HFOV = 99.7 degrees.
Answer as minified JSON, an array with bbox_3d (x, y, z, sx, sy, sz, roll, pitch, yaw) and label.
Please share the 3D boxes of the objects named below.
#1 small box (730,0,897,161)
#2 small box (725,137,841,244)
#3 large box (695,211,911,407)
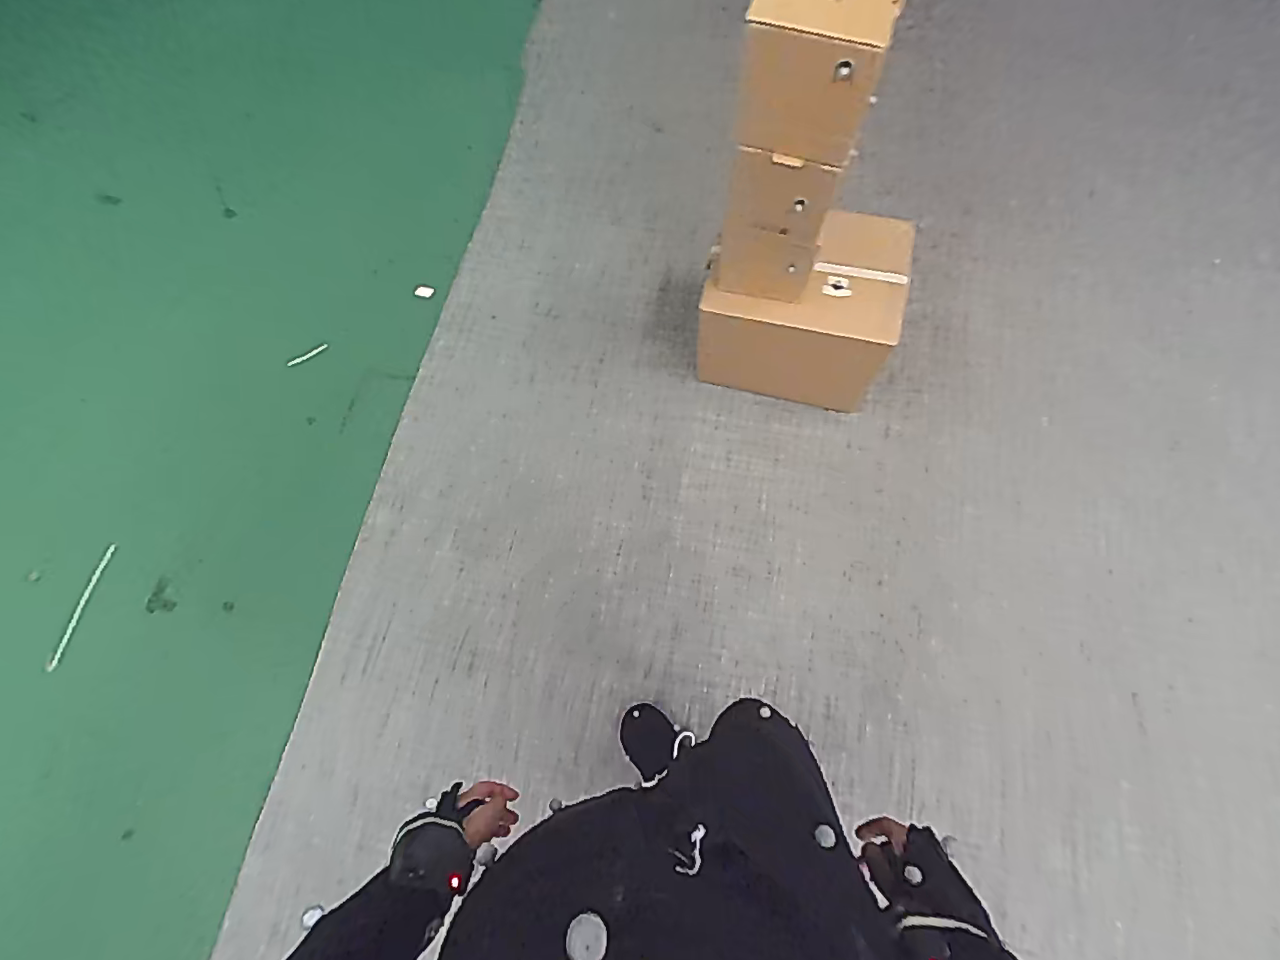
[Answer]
[{"bbox_3d":[0.233,-0.580,0.745,0.179,0.176,0.168,18,73,8],"label":"small box"},{"bbox_3d":[0.244,-0.529,0.900,0.168,0.176,0.179,17,73,7],"label":"small box"},{"bbox_3d":[0.359,-0.404,1.279,0.408,0.320,0.320,13,74,8],"label":"large box"}]
